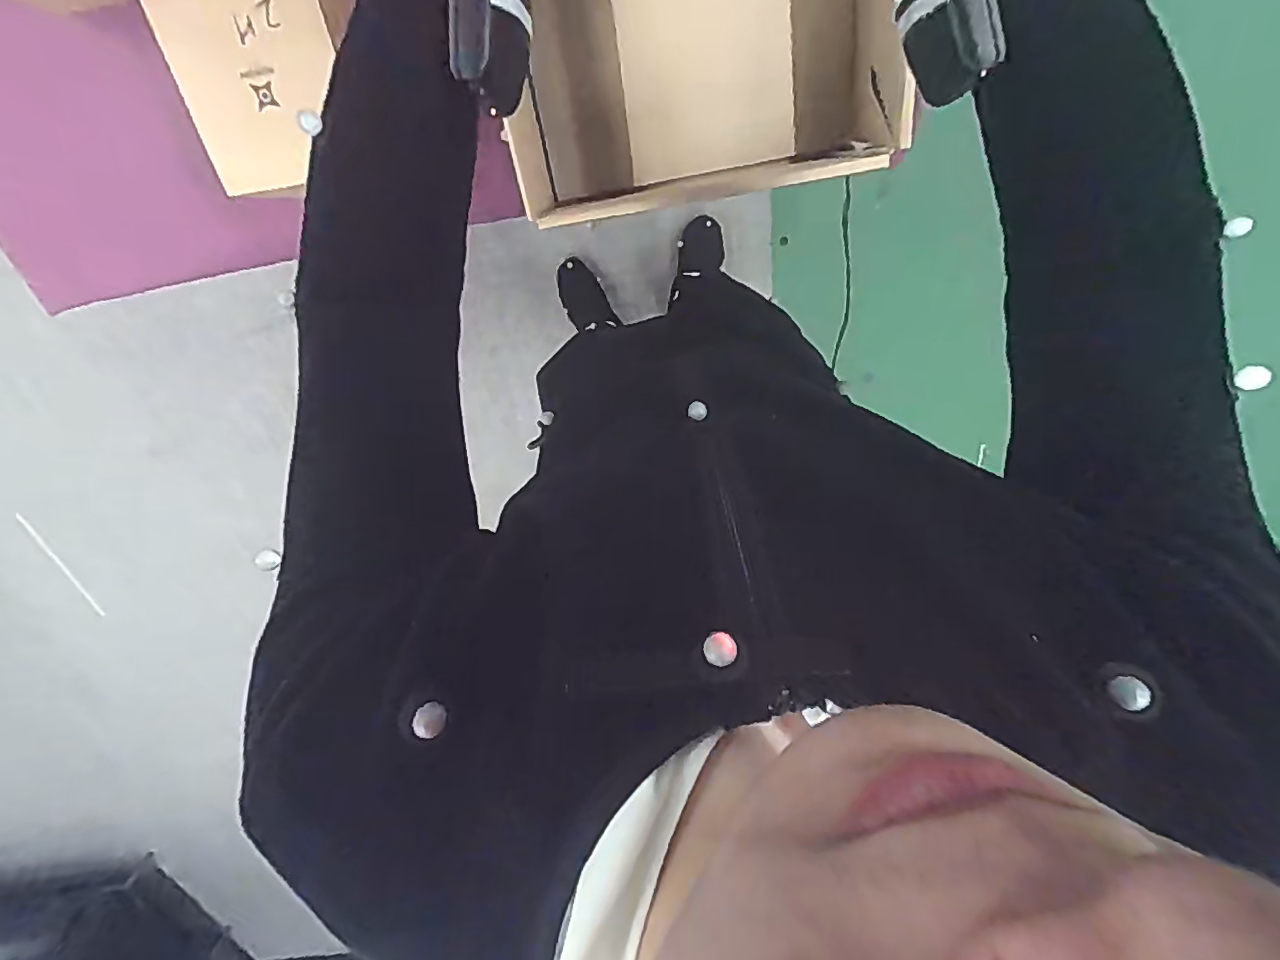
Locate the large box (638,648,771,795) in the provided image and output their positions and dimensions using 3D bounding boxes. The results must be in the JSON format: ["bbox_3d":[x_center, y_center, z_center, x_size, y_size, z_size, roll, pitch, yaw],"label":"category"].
[{"bbox_3d":[0.236,0.947,2.130,0.408,0.320,0.320,-38,114,17],"label":"large box"}]

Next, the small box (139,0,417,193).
[{"bbox_3d":[-0.373,-0.429,0.599,0.168,0.176,0.179,-7,118,3],"label":"small box"}]
